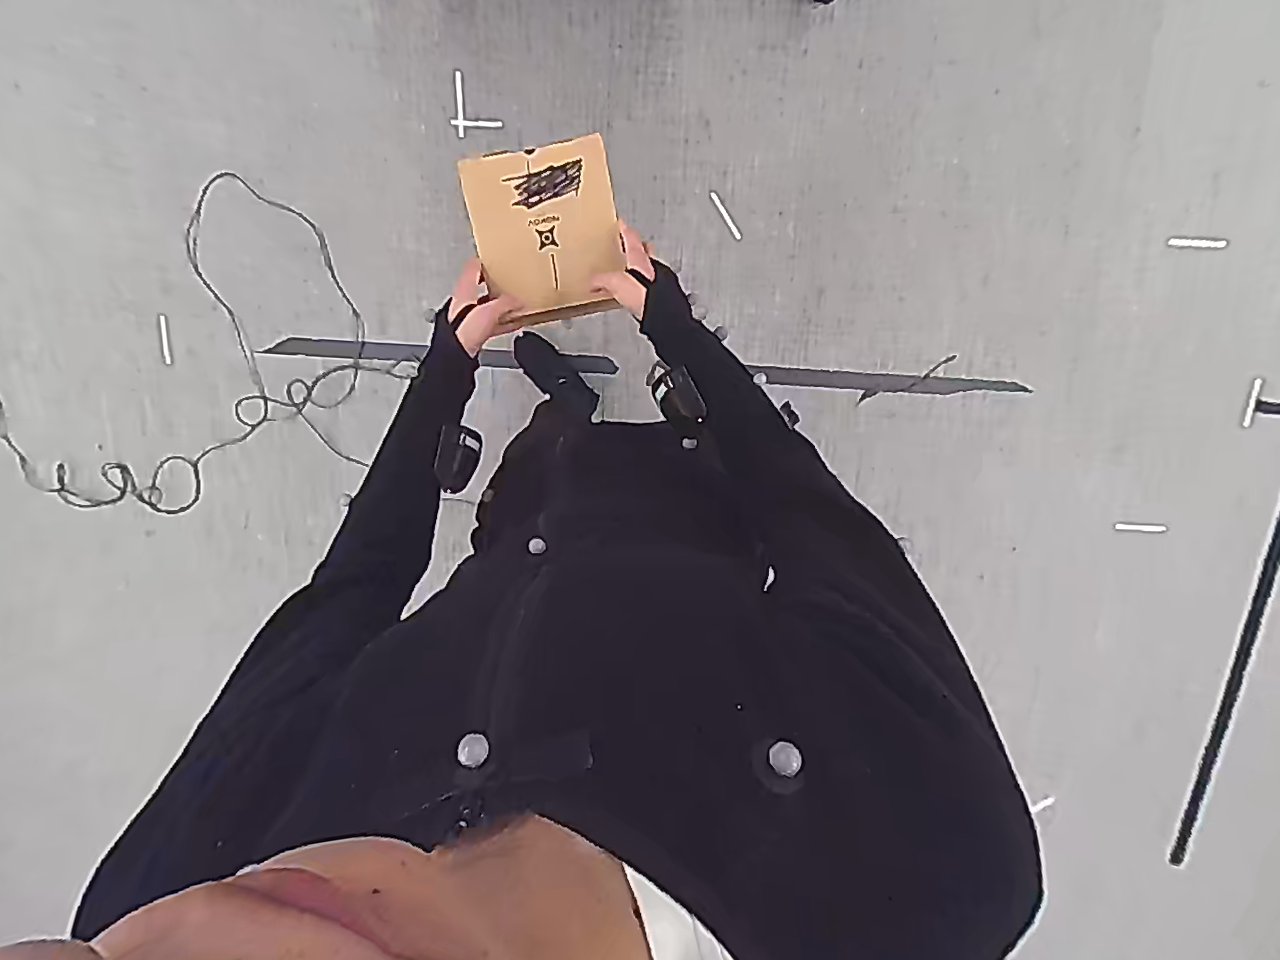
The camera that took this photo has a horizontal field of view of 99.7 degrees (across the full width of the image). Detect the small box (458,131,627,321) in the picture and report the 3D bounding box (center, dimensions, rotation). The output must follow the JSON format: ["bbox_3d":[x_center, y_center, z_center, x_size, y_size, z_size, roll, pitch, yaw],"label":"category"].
[{"bbox_3d":[-0.114,-0.309,0.694,0.168,0.176,0.179,-11,104,0],"label":"small box"}]
